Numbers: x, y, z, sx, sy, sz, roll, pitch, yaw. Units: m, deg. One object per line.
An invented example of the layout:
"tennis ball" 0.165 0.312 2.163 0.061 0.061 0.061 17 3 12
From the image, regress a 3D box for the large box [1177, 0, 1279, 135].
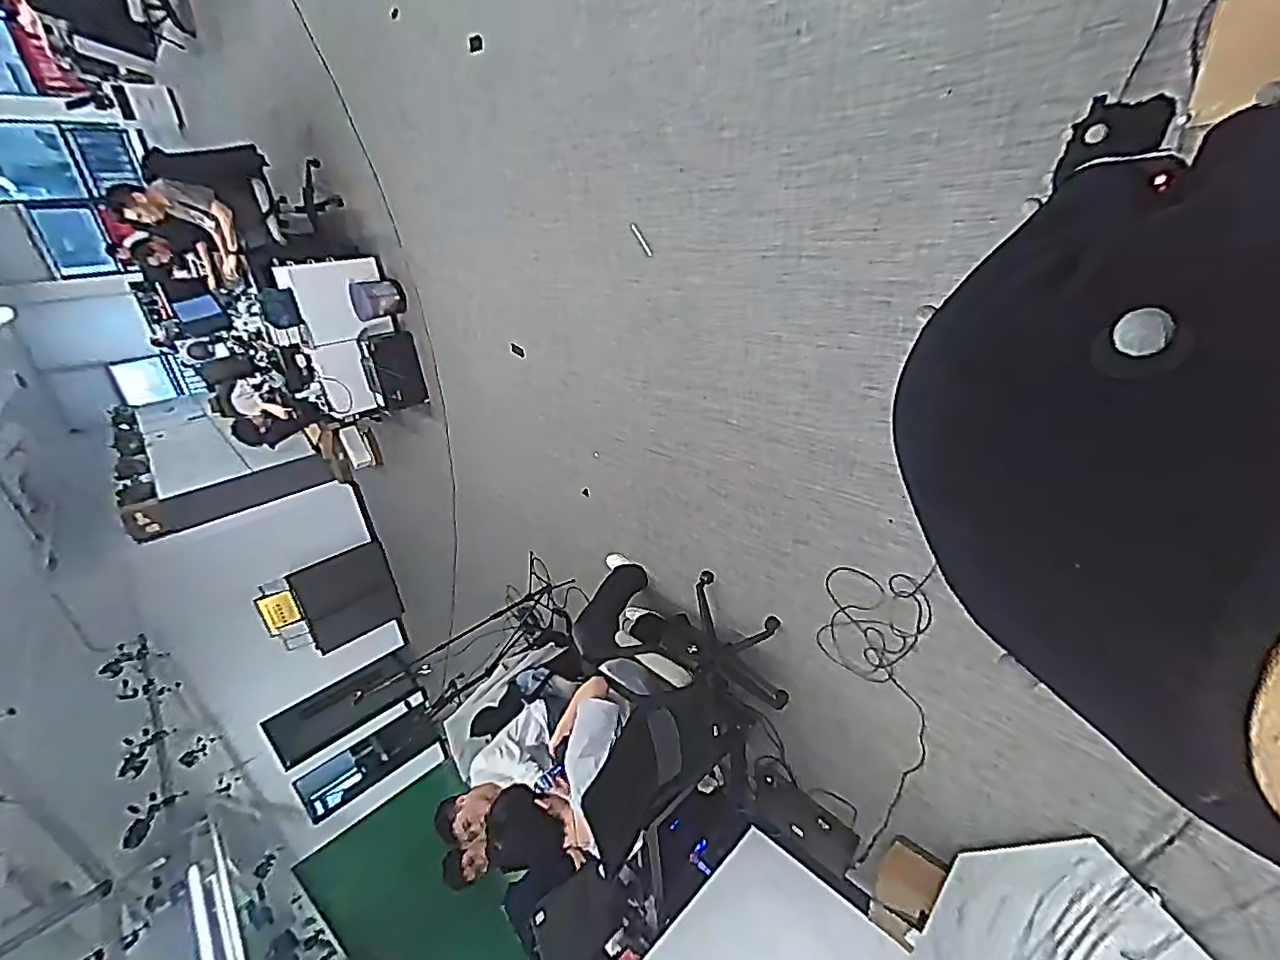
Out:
"large box" 1.009 -0.649 0.674 0.408 0.320 0.320 20 125 44
